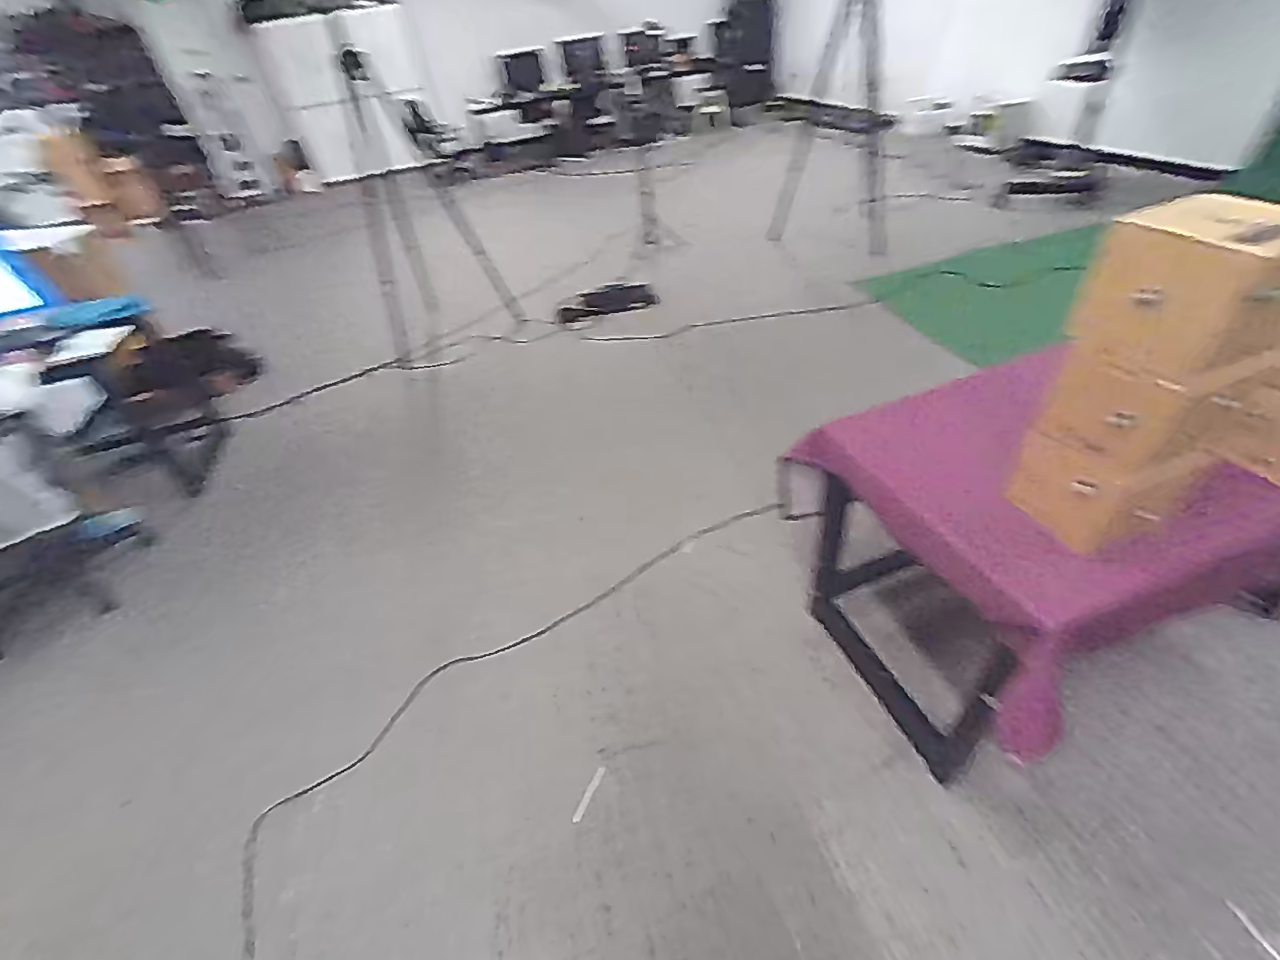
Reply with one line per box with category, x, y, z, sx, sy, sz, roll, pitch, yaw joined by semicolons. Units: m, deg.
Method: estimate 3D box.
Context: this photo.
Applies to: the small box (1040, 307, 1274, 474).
small box;0.755;-0.134;0.820;0.179;0.176;0.168;-18;43;-10
